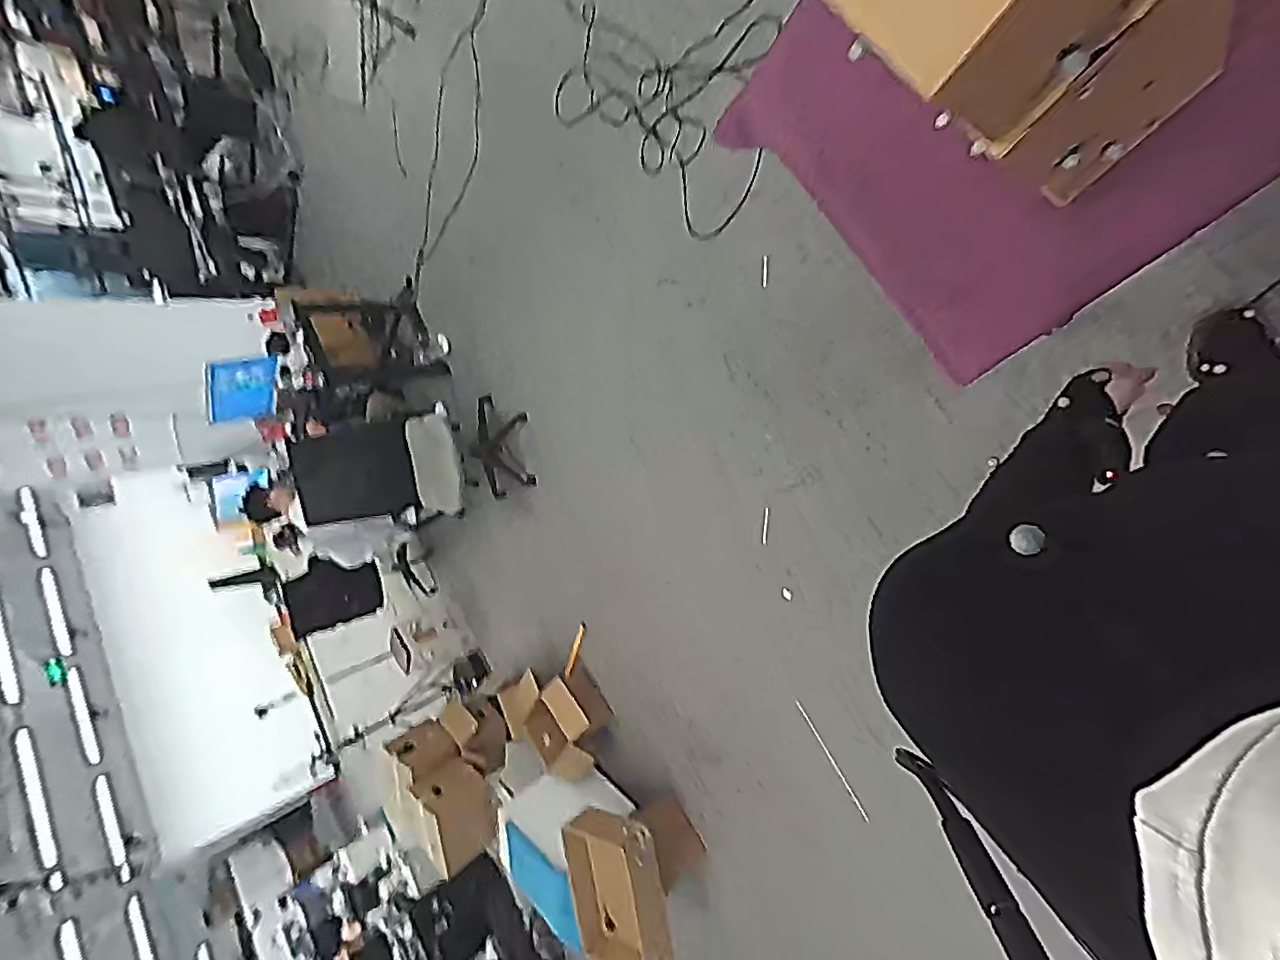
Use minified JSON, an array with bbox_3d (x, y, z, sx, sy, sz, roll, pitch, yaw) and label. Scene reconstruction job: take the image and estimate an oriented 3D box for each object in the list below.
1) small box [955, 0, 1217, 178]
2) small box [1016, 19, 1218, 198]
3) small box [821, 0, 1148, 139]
[{"bbox_3d":[0.361,-0.403,0.486,0.168,0.176,0.179,-47,67,44],"label":"small box"},{"bbox_3d":[0.477,-0.439,0.597,0.179,0.176,0.168,58,136,17],"label":"small box"},{"bbox_3d":[0.241,-0.377,0.378,0.179,0.176,0.168,59,137,16],"label":"small box"}]
